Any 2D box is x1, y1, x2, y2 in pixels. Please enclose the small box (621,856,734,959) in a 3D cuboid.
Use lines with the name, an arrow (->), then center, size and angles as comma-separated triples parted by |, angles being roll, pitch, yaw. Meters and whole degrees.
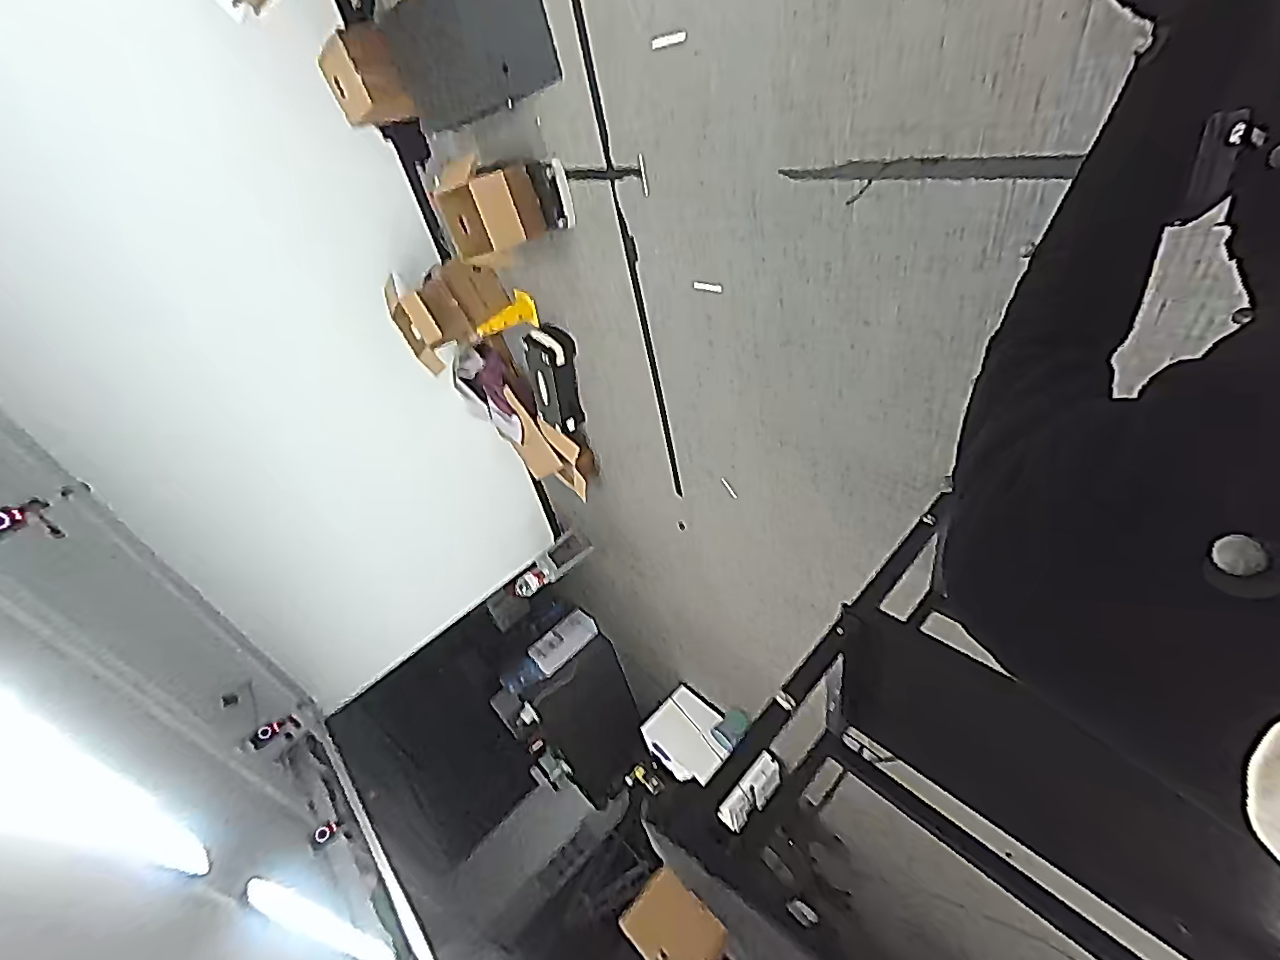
small box -> 0.087, 0.955, 1.155 | 0.168, 0.176, 0.179 | 29, 146, 37
